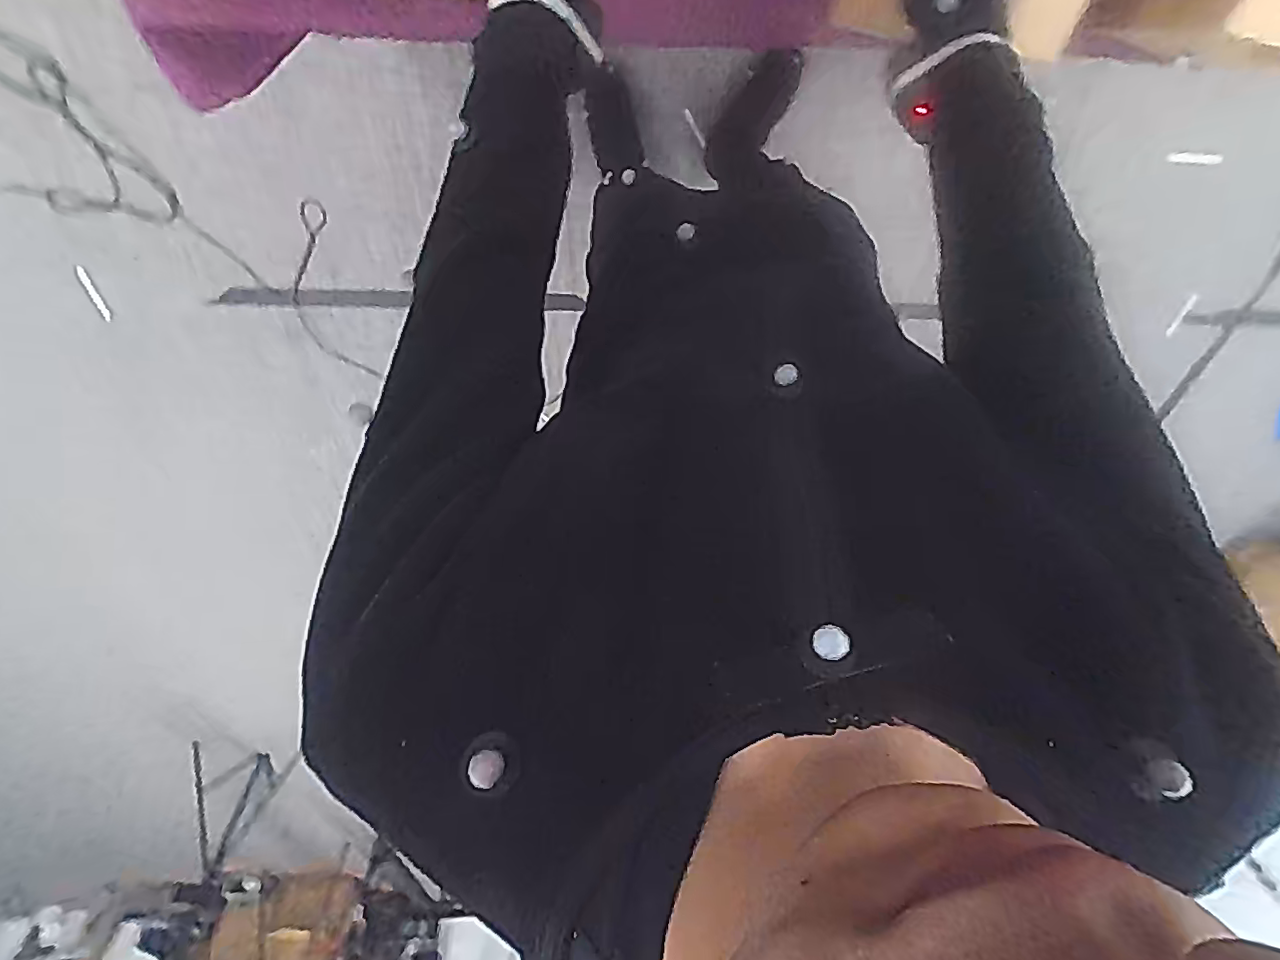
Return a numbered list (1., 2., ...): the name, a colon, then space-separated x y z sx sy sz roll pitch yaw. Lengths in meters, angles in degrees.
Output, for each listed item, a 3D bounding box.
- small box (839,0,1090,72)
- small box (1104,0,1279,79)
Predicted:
1. small box: 0.306 -0.498 0.489 0.168 0.176 0.179 6 131 -8
2. small box: 0.606 -0.502 0.504 0.168 0.176 0.179 9 129 -10
